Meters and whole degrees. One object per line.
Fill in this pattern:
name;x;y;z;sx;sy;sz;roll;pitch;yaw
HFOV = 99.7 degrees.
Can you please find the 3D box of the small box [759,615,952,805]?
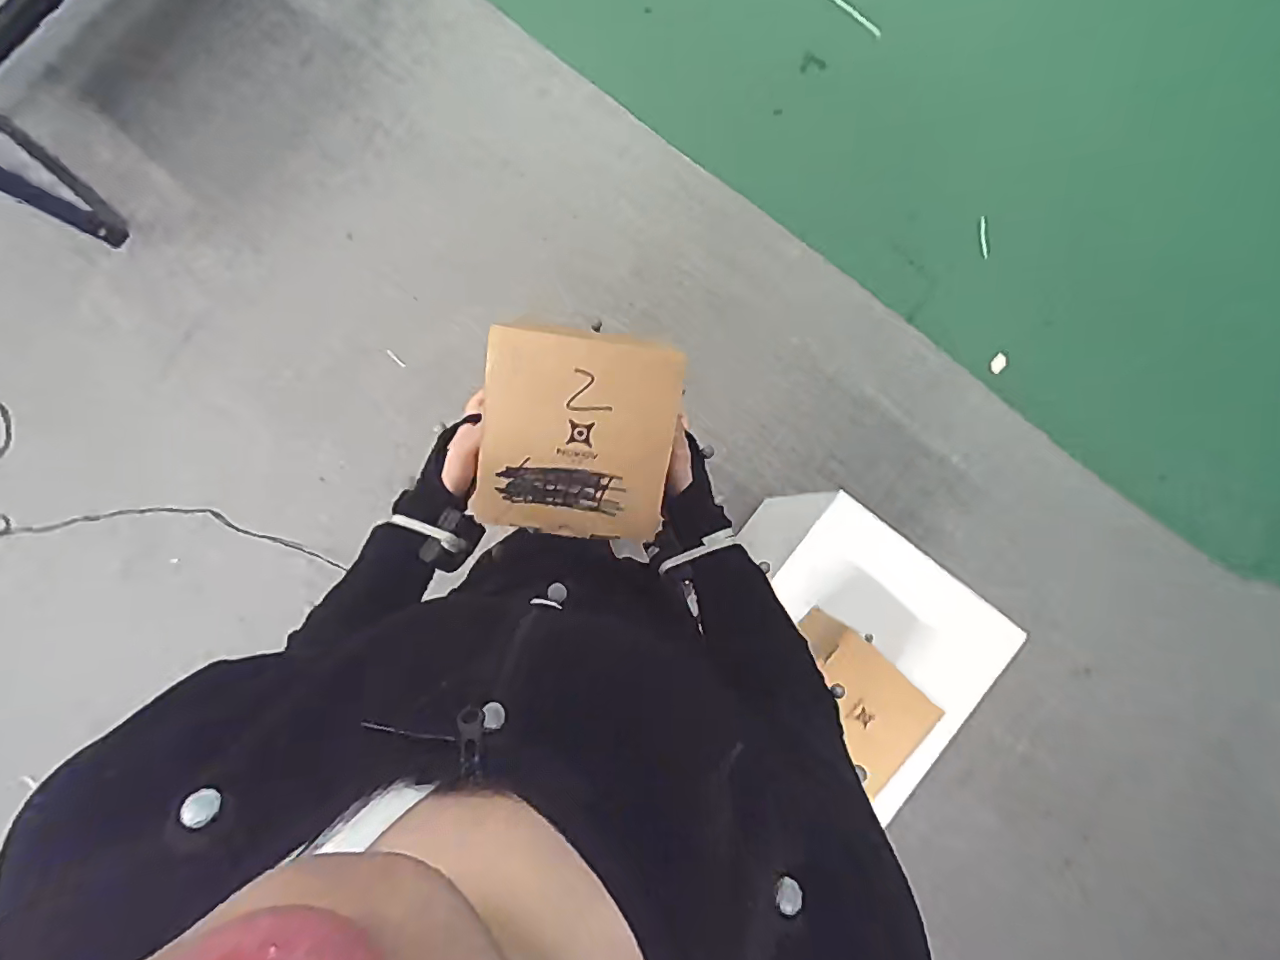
small box;0.308;0.326;0.811;0.179;0.176;0.168;42;87;2
